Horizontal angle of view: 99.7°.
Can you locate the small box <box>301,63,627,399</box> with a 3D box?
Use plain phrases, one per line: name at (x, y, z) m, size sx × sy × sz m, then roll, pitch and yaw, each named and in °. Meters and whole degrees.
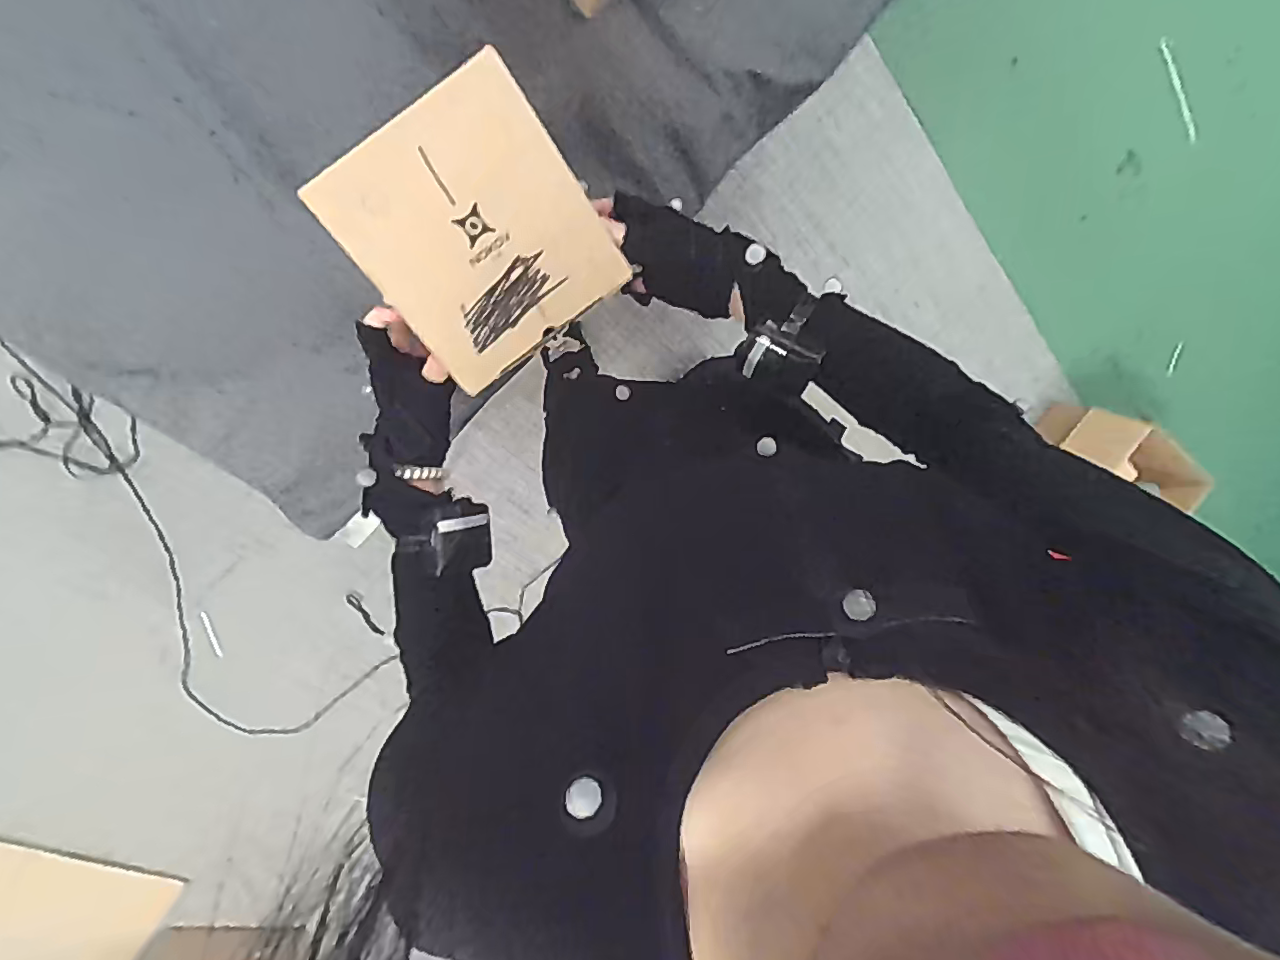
small box at (-0.136, -0.200, 0.469) m, size 0.168 × 0.176 × 0.179 m, roll -35°, pitch 115°, yaw 0°
